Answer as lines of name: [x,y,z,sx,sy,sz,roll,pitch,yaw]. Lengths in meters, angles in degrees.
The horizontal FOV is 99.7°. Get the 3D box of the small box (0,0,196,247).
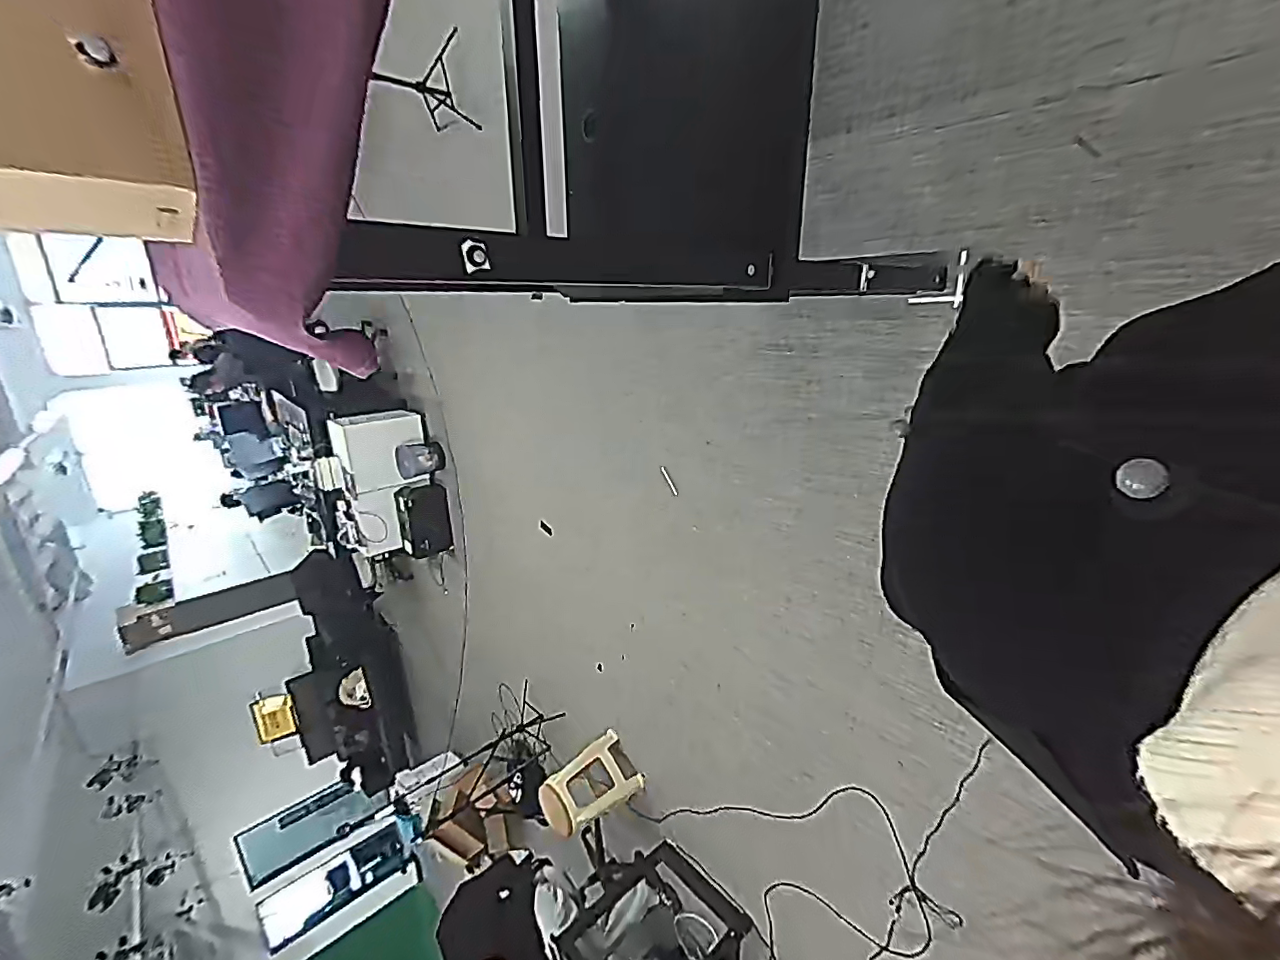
small box: [-0.482,-0.300,0.429,0.168,0.176,0.179,6,106,49]
